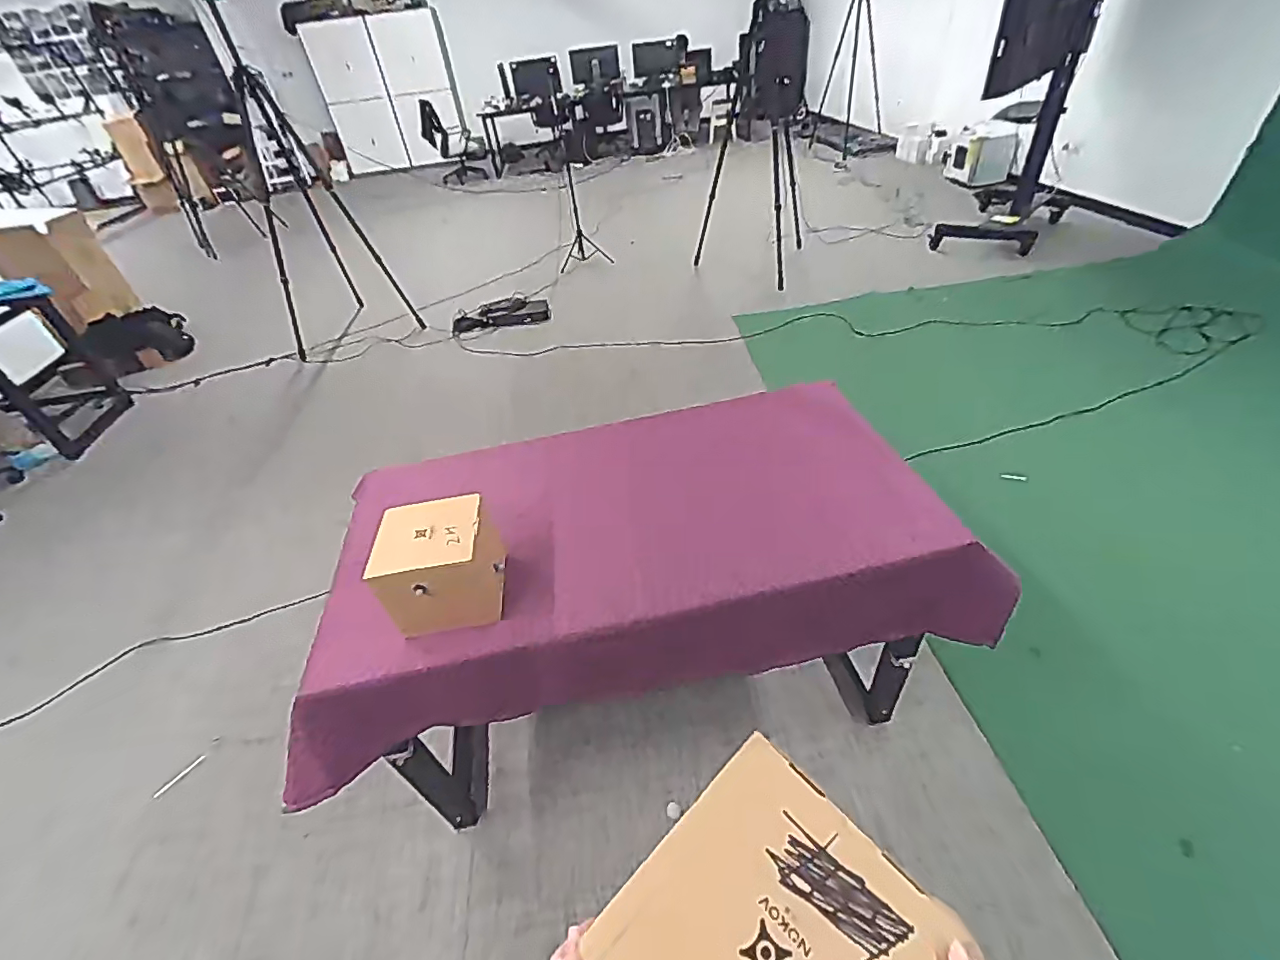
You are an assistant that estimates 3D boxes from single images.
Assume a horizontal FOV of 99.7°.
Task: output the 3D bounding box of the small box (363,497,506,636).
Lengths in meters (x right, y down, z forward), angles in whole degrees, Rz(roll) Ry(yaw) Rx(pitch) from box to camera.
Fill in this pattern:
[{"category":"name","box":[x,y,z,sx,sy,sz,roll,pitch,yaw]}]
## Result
[{"category":"small box","box":[-0.353,0.158,0.963,0.179,0.176,0.168,-9,40,-2]}]
